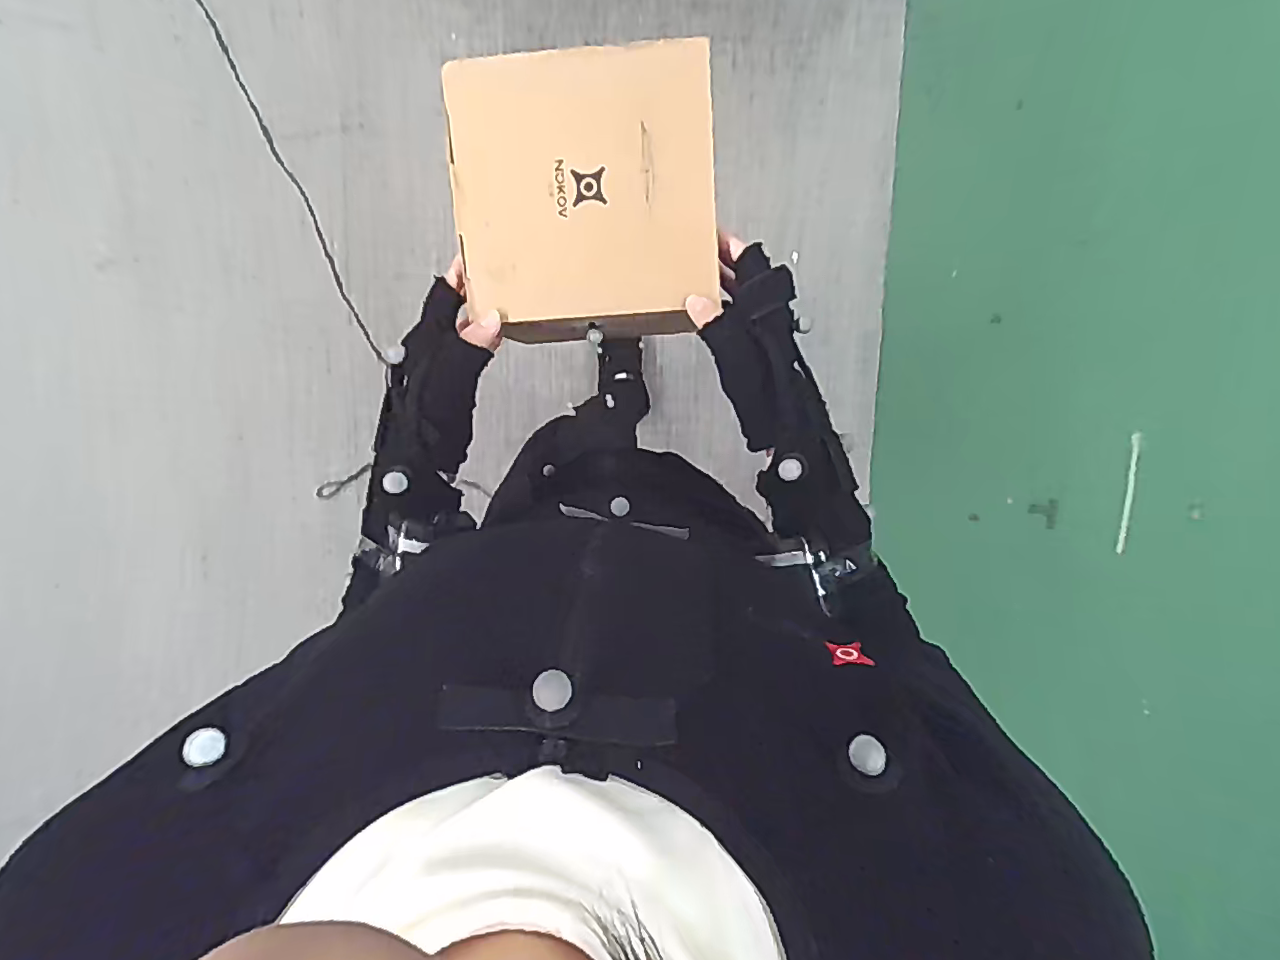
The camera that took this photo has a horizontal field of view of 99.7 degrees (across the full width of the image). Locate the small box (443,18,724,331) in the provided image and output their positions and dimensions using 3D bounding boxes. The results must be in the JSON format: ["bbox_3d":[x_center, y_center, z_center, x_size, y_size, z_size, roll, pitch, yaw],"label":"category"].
[{"bbox_3d":[-0.031,-0.217,0.435,0.179,0.176,0.168,-5,101,3],"label":"small box"}]
